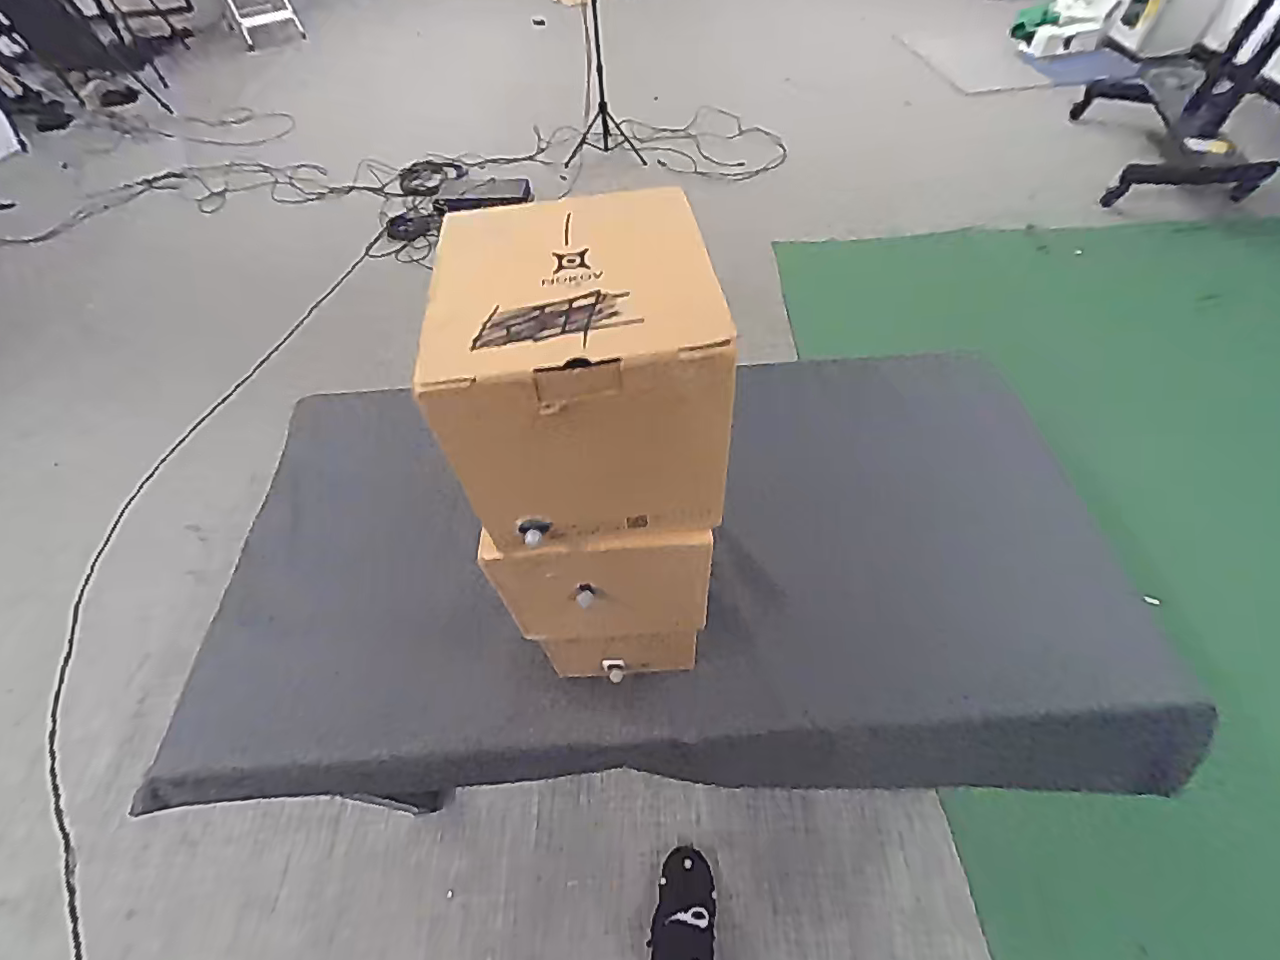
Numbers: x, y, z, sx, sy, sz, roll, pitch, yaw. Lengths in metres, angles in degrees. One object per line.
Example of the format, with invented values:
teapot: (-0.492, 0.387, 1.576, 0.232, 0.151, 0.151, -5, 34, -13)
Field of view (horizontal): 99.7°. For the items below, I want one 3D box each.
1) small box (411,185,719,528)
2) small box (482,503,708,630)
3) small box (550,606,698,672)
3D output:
small box: (-0.041, -0.079, 0.389, 0.168, 0.176, 0.179, -8, 52, -1)
small box: (-0.035, 0.030, 0.517, 0.179, 0.176, 0.168, -6, 51, -1)
small box: (-0.025, 0.114, 0.655, 0.168, 0.176, 0.179, -6, 54, 0)
